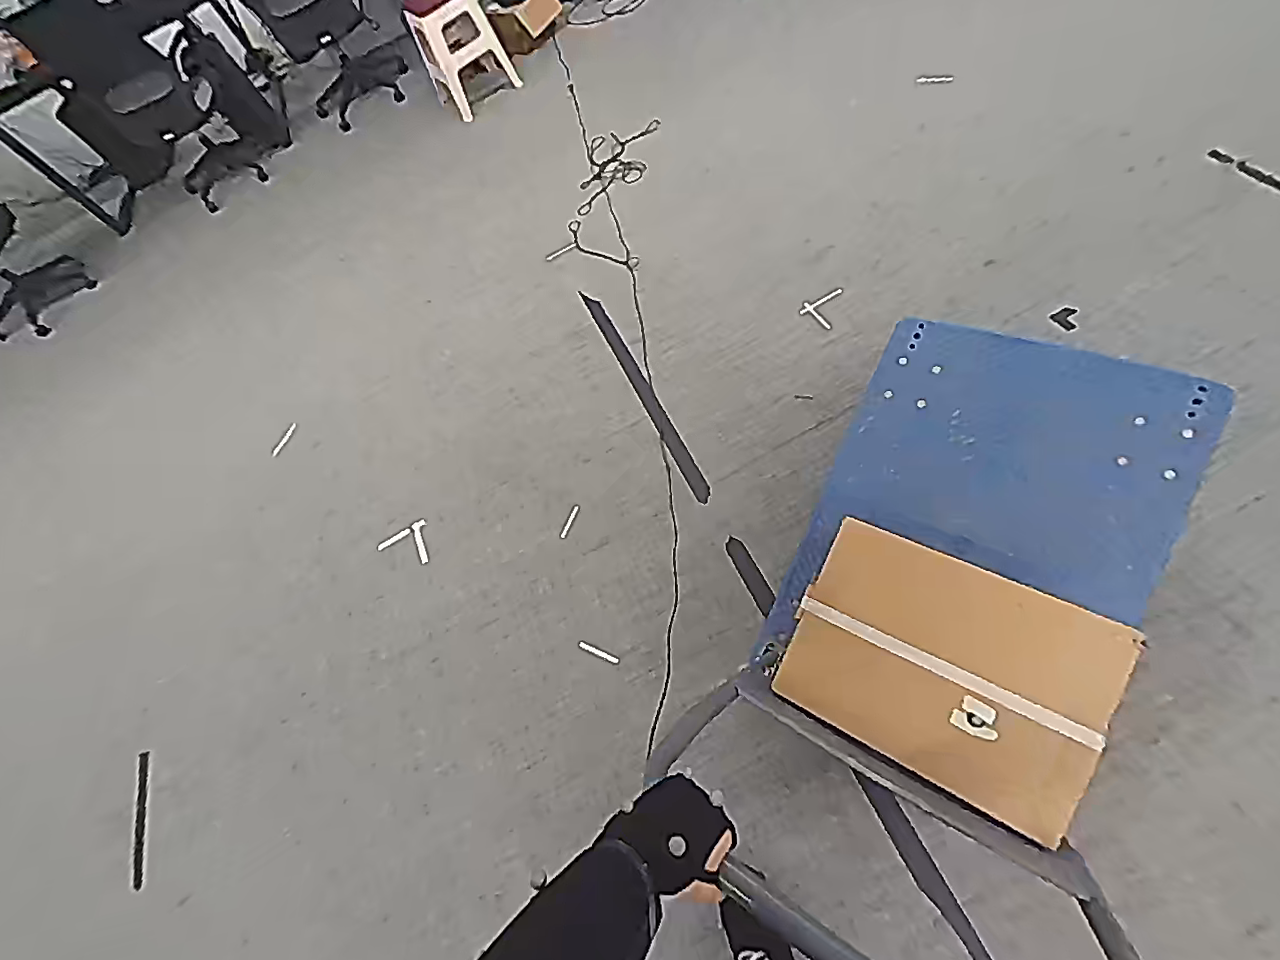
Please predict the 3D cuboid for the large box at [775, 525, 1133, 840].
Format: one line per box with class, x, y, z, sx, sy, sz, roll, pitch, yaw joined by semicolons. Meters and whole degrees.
large box;0.500;0.308;0.946;0.408;0.320;0.320;23;90;26
